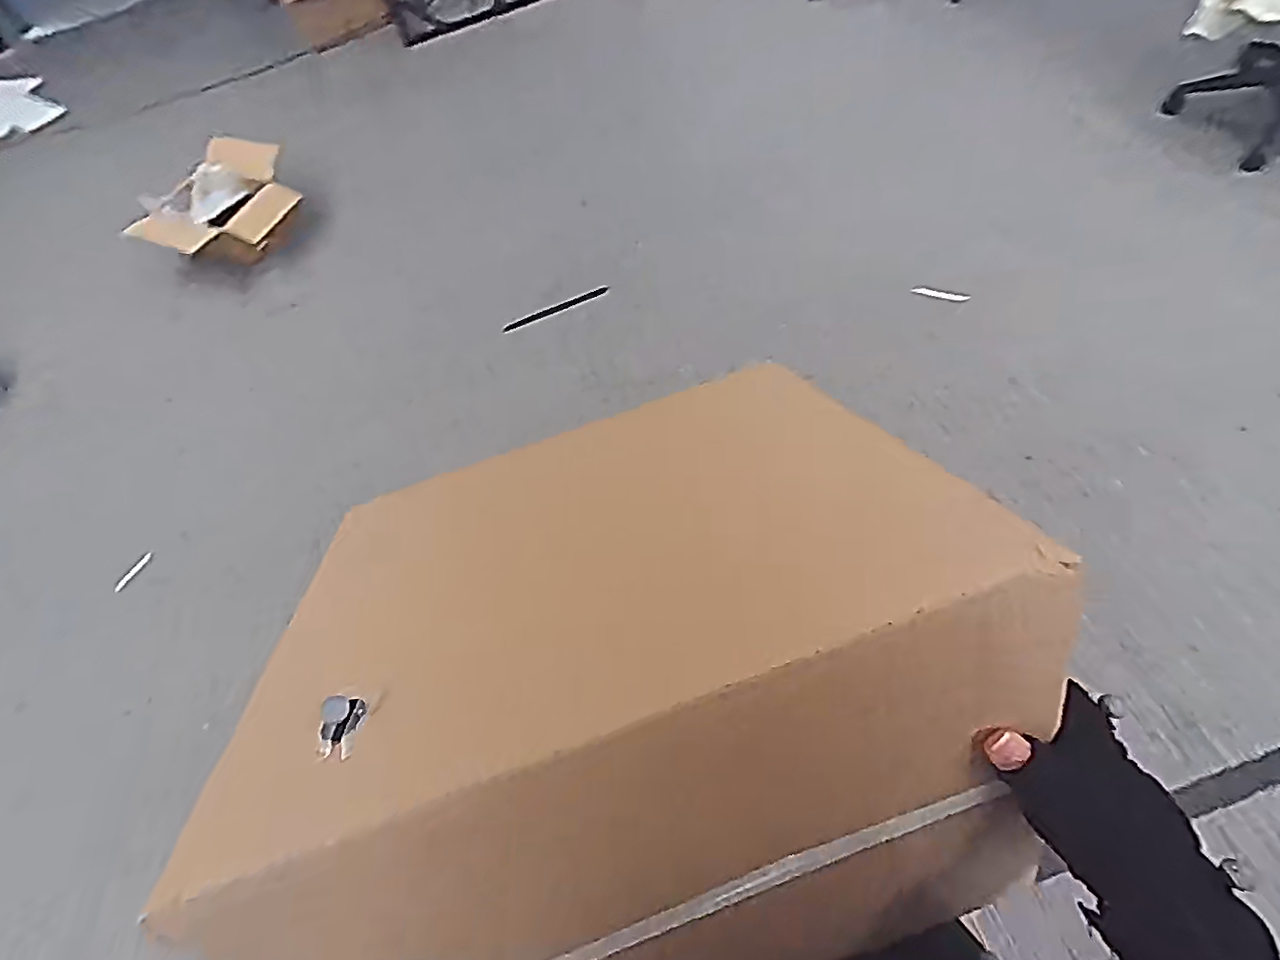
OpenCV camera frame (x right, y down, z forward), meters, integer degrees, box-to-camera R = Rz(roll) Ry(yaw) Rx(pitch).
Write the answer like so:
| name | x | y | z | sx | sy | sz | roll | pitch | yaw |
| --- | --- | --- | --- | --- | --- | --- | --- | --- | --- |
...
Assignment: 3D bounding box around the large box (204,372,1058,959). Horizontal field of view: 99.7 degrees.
| name | x | y | z | sx | sy | sz | roll | pitch | yaw |
| --- | --- | --- | --- | --- | --- | --- | --- | --- | --- |
| large box | 0.011 | 0.154 | 0.433 | 0.408 | 0.320 | 0.320 | -20 | 30 | -2 |
